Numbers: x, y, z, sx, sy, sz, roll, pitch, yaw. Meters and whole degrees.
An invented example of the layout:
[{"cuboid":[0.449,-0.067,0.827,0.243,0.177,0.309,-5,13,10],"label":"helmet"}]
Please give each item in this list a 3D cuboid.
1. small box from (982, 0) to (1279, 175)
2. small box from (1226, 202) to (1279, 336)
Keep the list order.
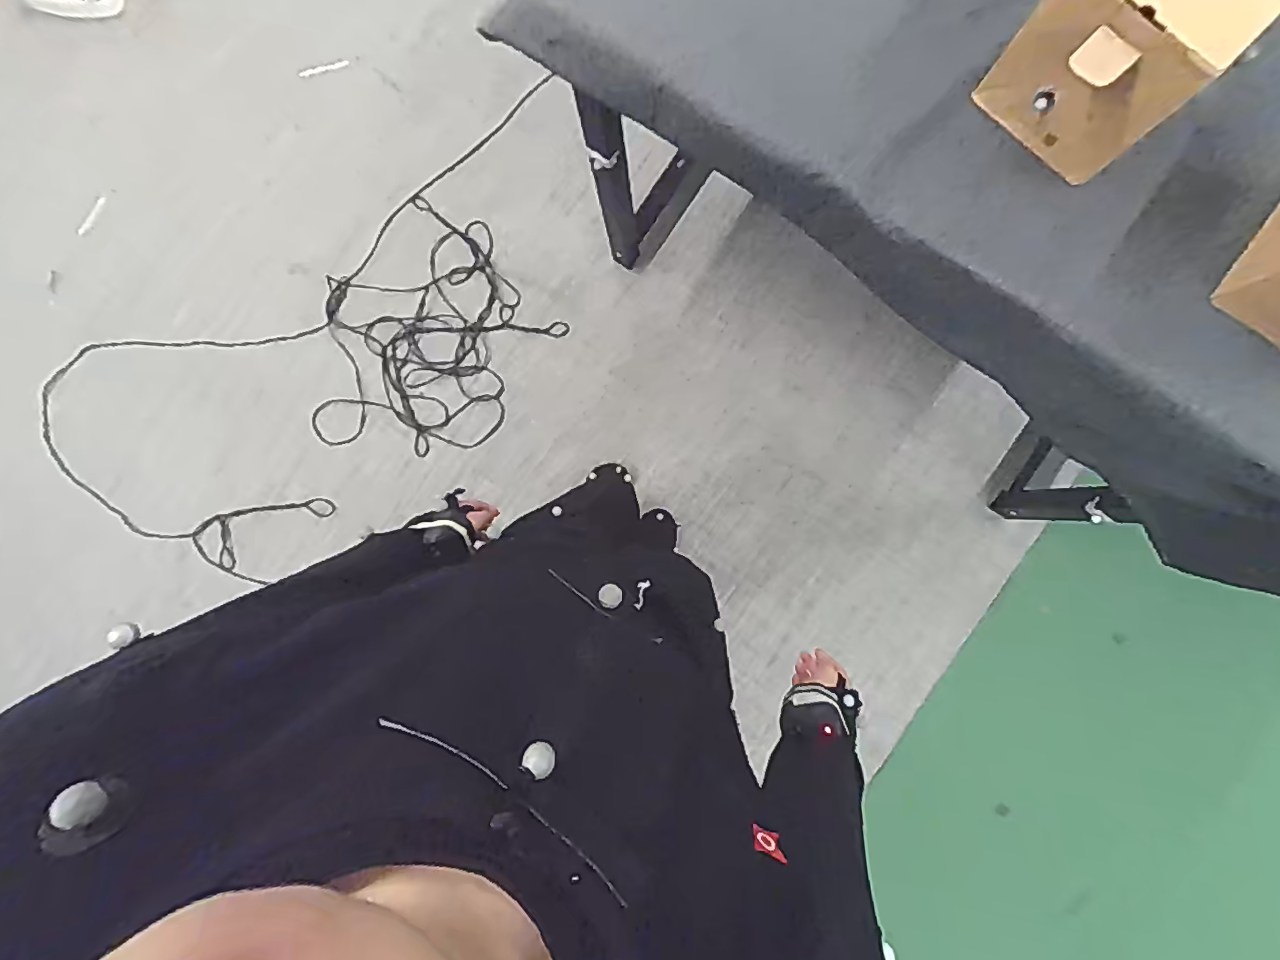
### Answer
[{"cuboid":[0.498,-0.460,0.539,0.168,0.176,0.179,44,90,3],"label":"small box"},{"cuboid":[0.745,-0.227,0.518,0.168,0.176,0.179,36,88,3],"label":"small box"}]
